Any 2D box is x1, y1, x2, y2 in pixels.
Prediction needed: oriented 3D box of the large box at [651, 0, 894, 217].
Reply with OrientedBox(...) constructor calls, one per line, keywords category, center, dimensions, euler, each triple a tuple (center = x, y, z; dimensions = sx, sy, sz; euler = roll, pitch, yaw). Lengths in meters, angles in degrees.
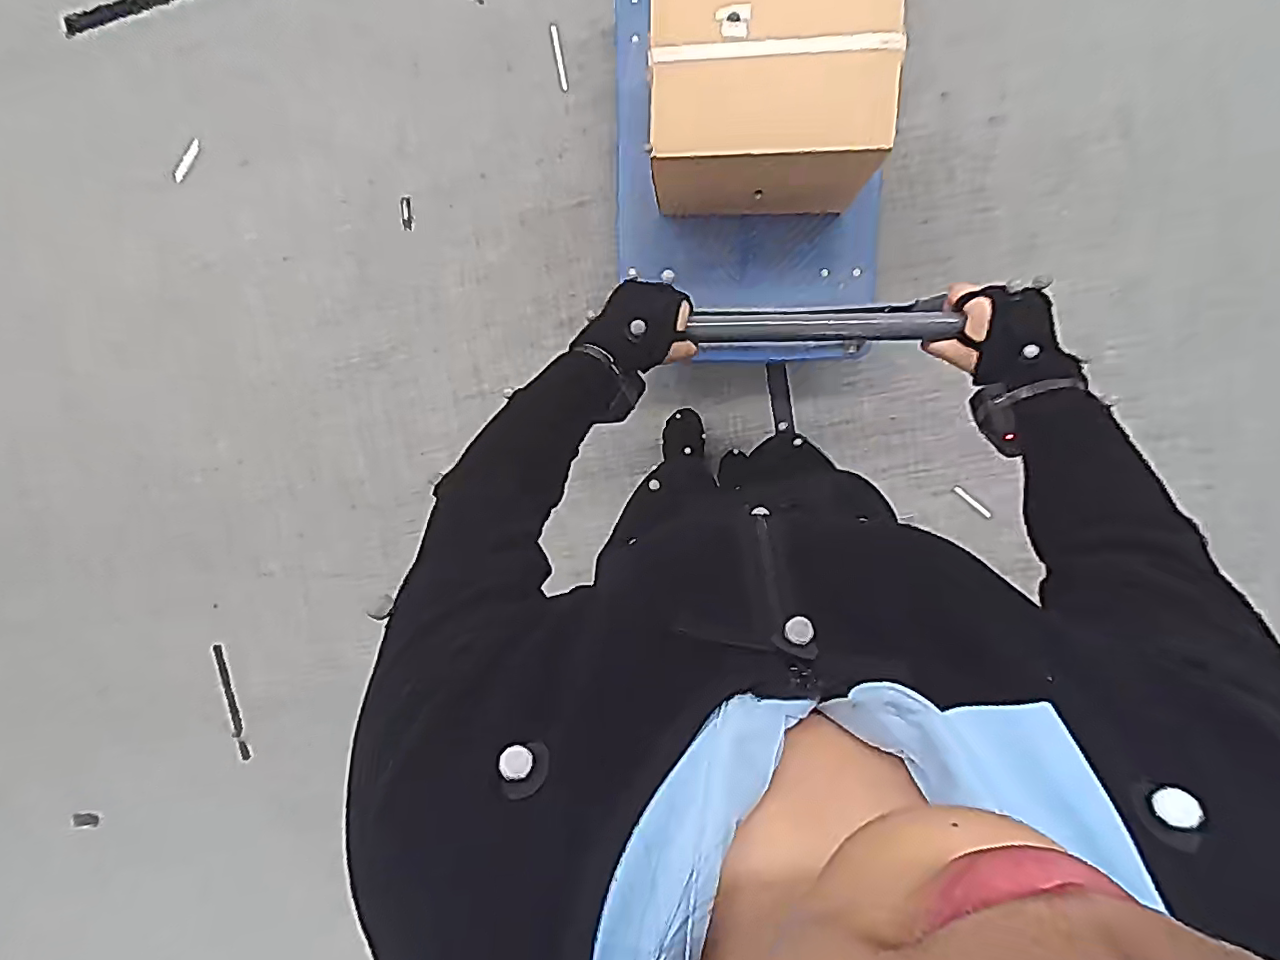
OrientedBox(category="large box", center=(0.237, -0.731, 1.054), dimensions=(0.408, 0.320, 0.320), euler=(0, 97, 7))
